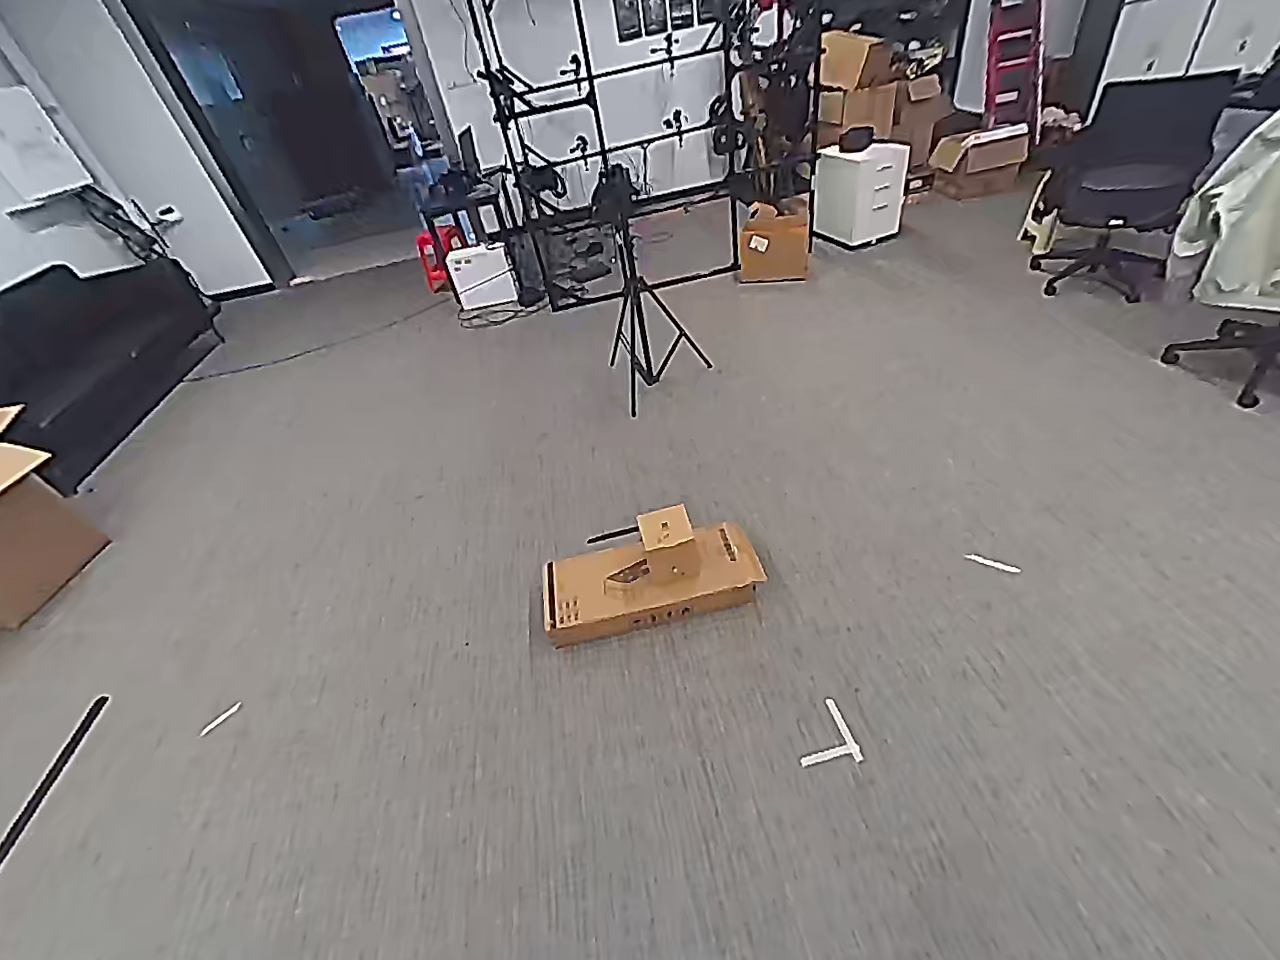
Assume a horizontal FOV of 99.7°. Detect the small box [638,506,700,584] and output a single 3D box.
[{"bbox_3d":[0.098,0.221,1.822,0.168,0.176,0.179,-14,39,-2],"label":"small box"}]
